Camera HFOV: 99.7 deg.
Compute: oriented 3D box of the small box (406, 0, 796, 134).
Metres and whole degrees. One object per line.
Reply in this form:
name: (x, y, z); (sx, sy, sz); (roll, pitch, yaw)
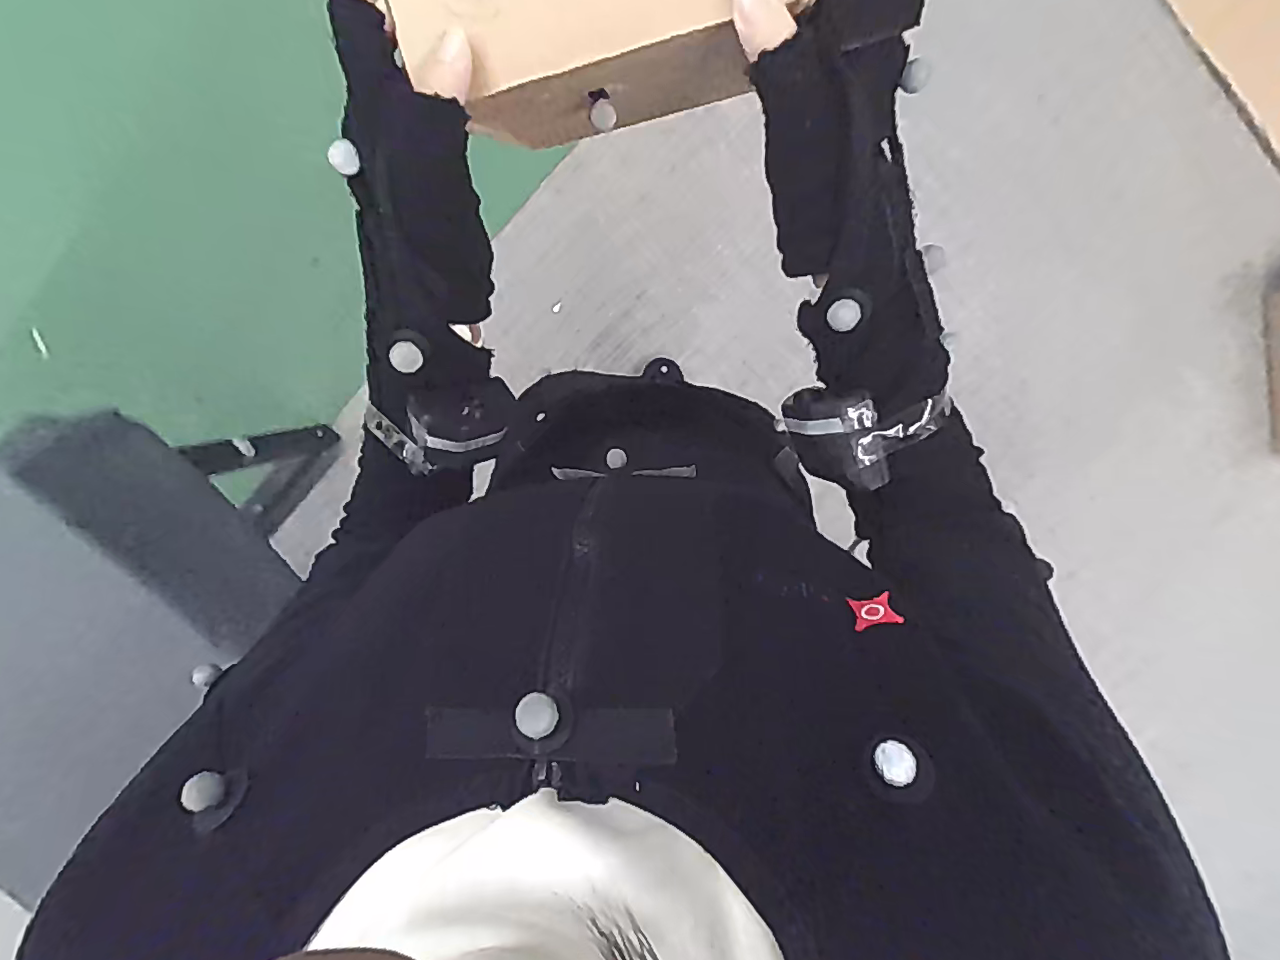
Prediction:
small box: (-0.017, -0.298, 0.268); (0.179, 0.176, 0.168); (-9, 112, 13)
